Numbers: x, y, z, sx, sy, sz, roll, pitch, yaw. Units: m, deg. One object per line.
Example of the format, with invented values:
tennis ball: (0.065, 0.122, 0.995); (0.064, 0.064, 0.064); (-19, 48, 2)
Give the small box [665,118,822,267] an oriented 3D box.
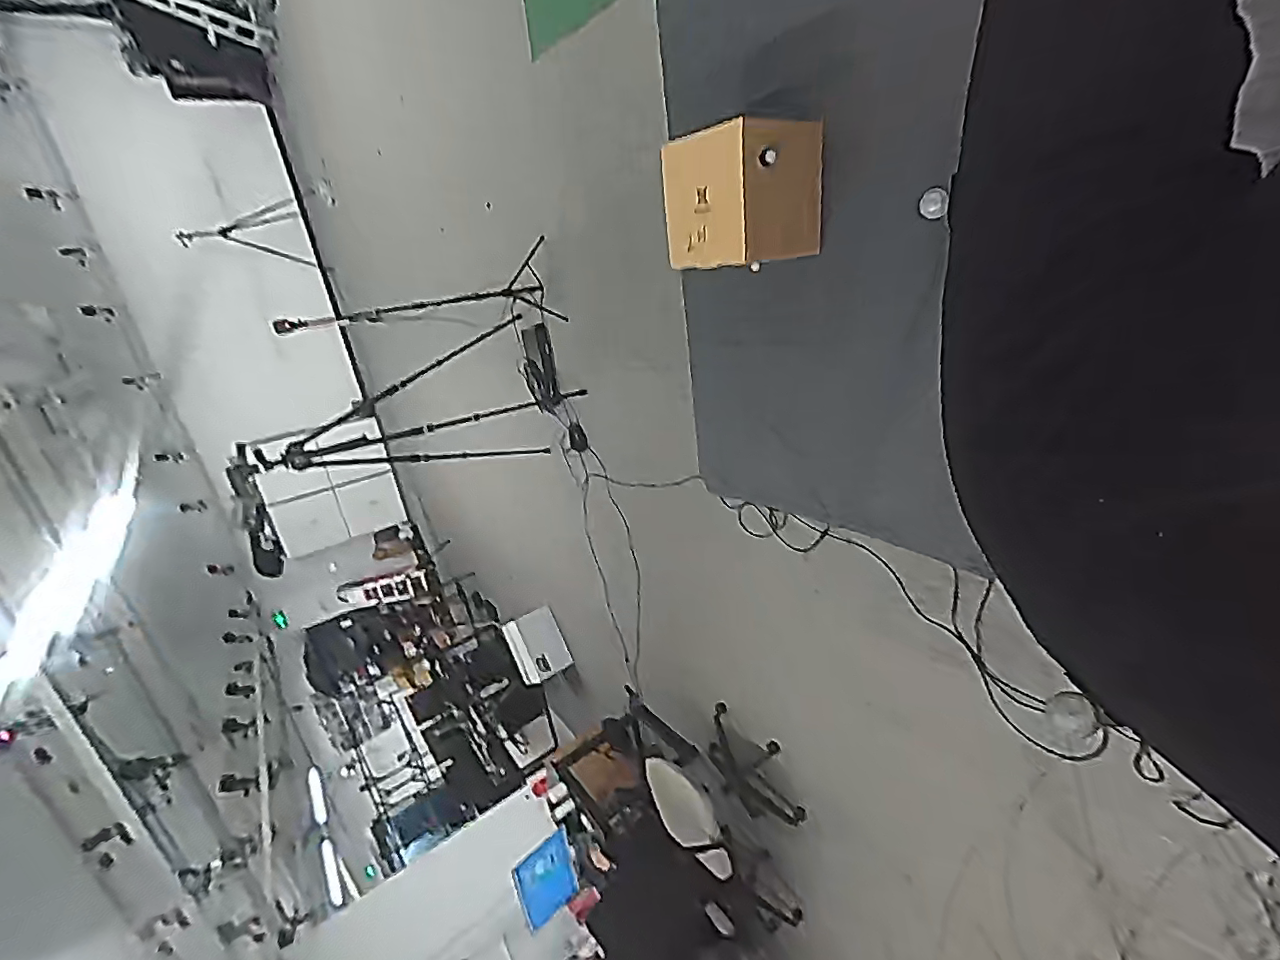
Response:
small box: (0.160, -0.427, 0.824); (0.168, 0.176, 0.179); (23, 127, 50)
